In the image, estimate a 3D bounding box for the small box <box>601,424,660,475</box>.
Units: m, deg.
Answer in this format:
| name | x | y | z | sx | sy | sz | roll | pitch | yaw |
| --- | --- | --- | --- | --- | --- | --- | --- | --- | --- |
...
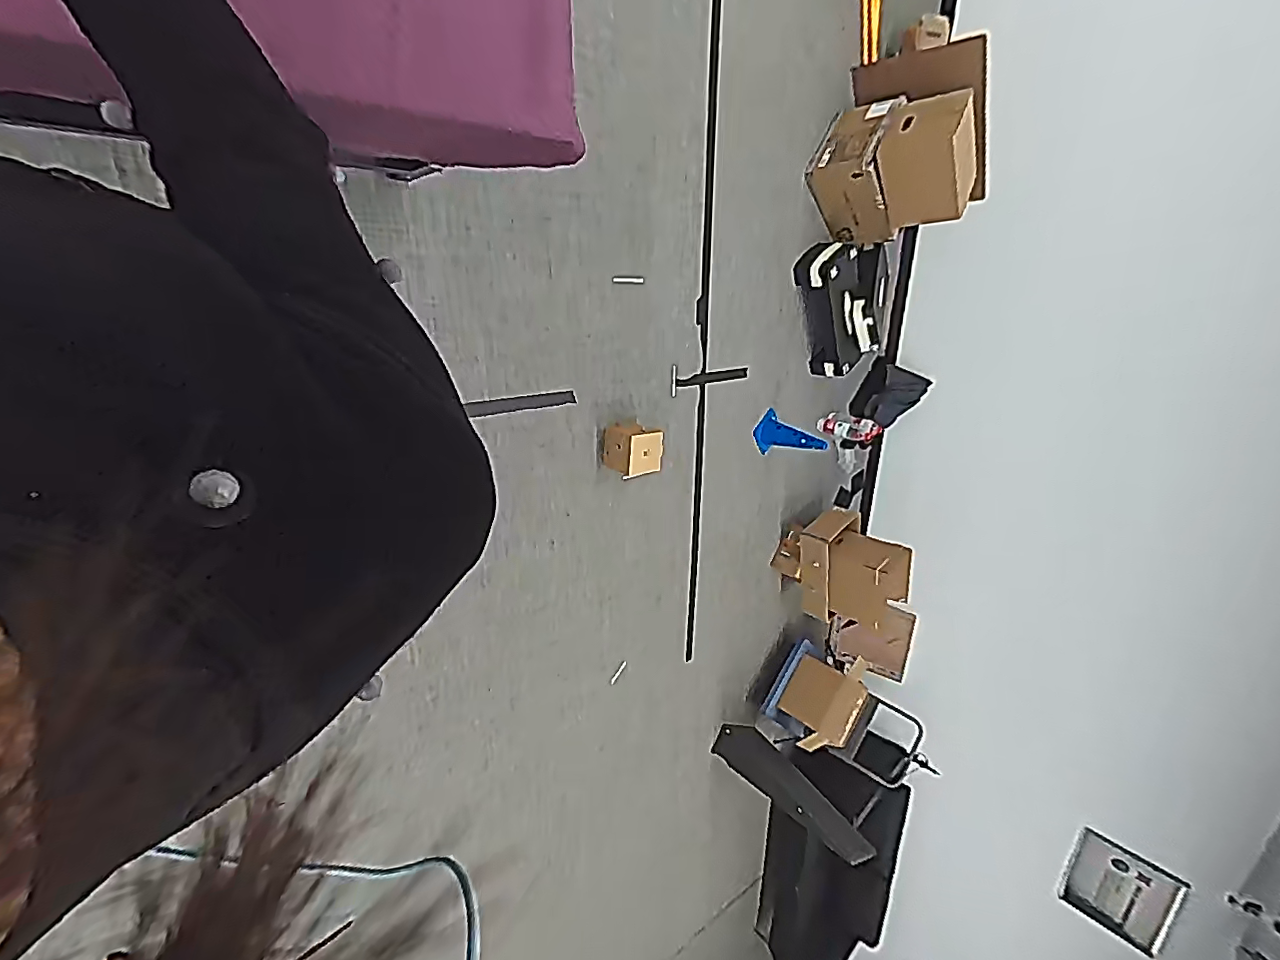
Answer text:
| name | x | y | z | sx | sy | sz | roll | pitch | yaw |
| --- | --- | --- | --- | --- | --- | --- | --- | --- | --- |
| small box | -0.044 | -0.128 | 2.194 | 0.179 | 0.176 | 0.168 | -13 | 114 | -42 |
